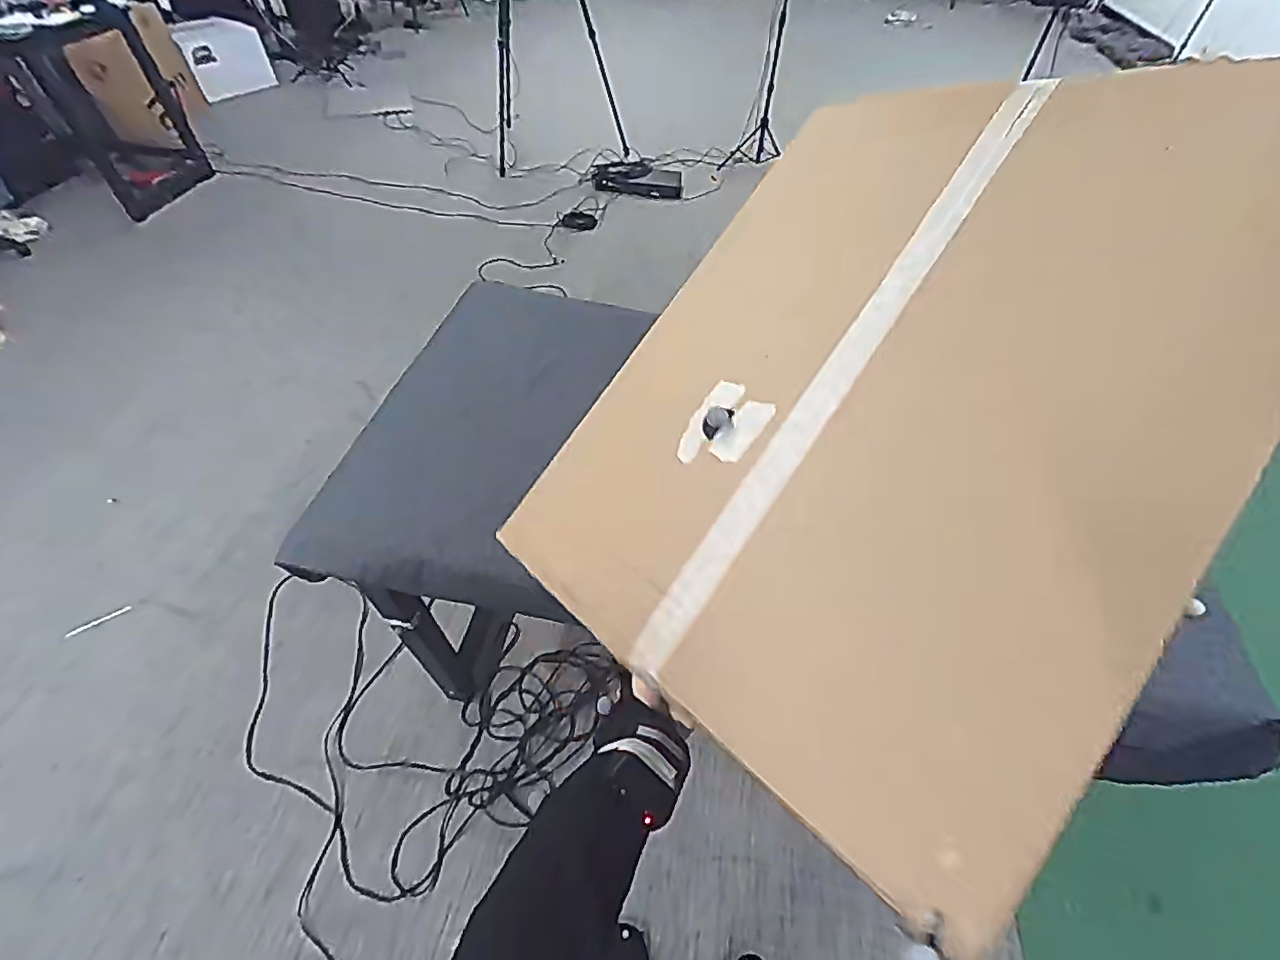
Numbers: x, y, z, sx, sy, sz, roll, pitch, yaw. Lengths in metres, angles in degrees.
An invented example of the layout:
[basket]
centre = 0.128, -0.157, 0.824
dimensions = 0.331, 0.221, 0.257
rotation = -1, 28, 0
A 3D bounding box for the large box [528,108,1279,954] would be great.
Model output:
[large box]
centre = 0.202, 0.009, 0.419
dimensions = 0.320, 0.320, 0.408
rotation = 28, 82, 41
